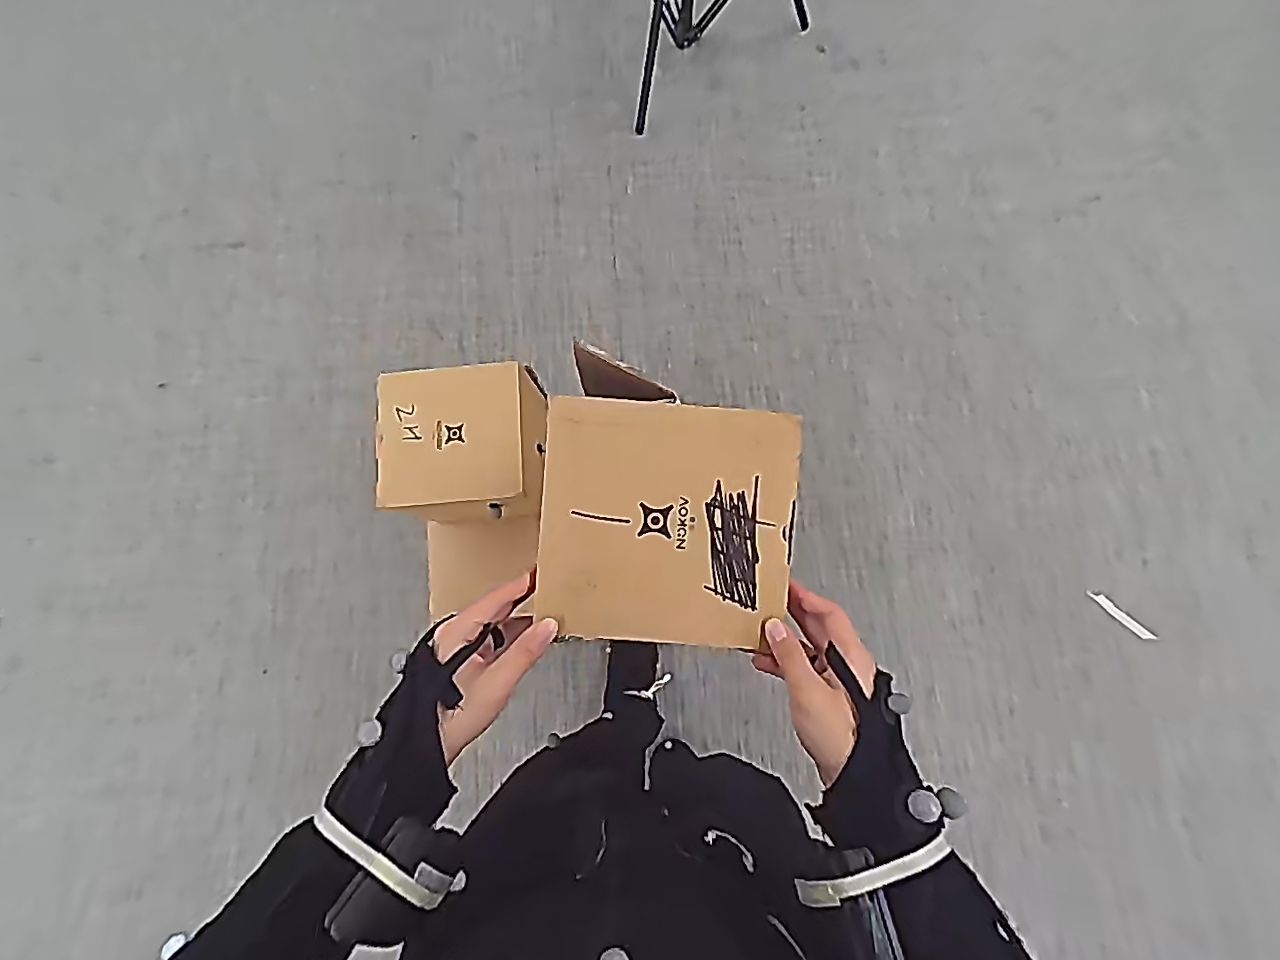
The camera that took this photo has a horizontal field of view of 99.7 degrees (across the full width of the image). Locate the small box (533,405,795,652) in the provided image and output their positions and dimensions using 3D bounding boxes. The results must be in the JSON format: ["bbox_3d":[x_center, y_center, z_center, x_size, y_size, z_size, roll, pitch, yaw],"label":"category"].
[{"bbox_3d":[0.016,0.034,0.458,0.179,0.176,0.168,4,90,0],"label":"small box"}]

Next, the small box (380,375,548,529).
[{"bbox_3d":[-0.218,-0.028,0.718,0.179,0.176,0.168,-5,79,3],"label":"small box"}]
